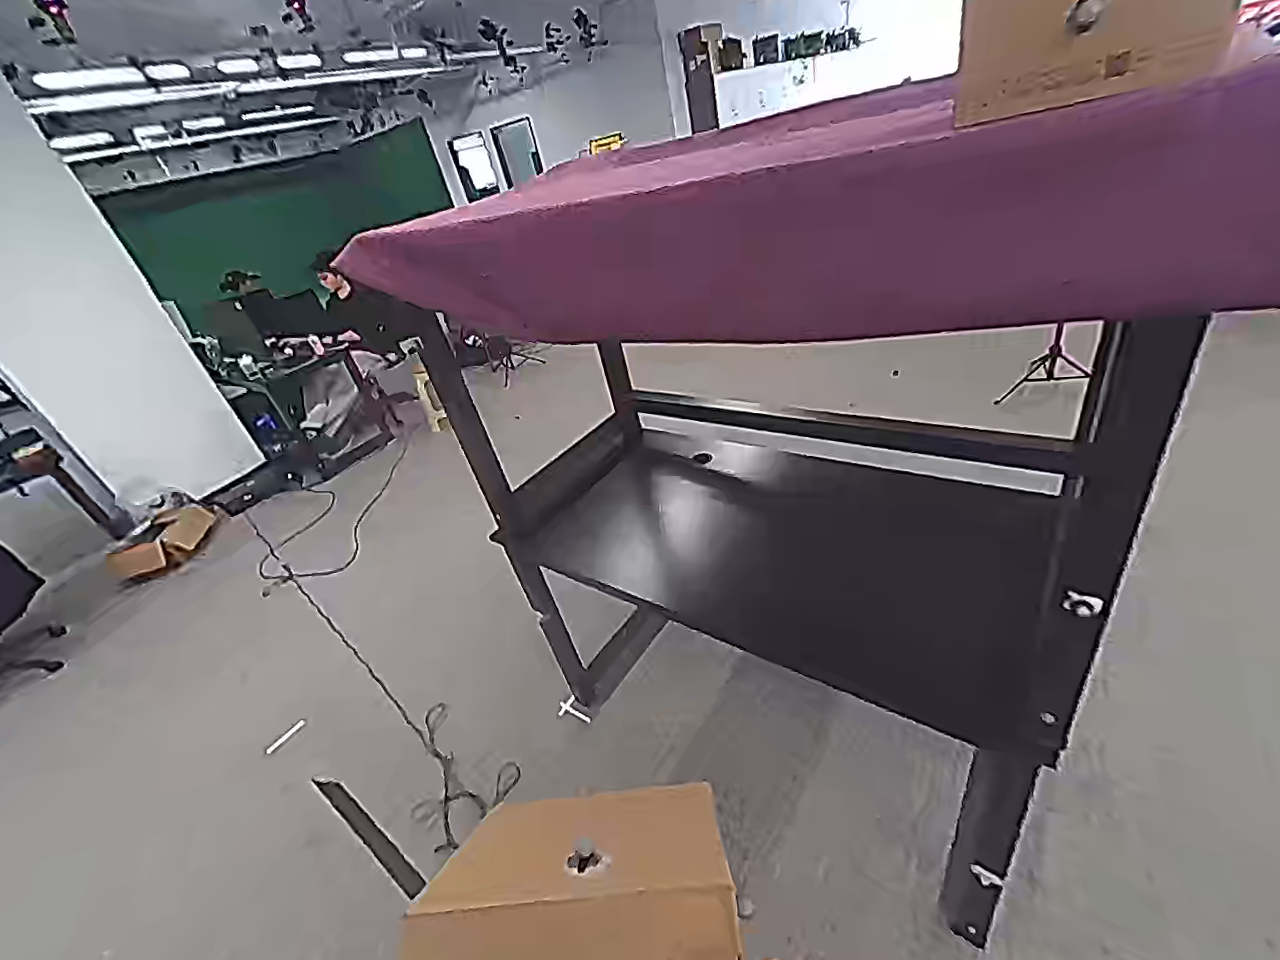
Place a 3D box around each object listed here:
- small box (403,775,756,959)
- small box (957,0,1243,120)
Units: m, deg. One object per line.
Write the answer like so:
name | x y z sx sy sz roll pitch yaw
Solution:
small box | -0.023 0.299 0.333 0.179 0.176 0.168 -6 77 1
small box | 0.357 -0.403 0.428 0.168 0.176 0.179 6 37 32
